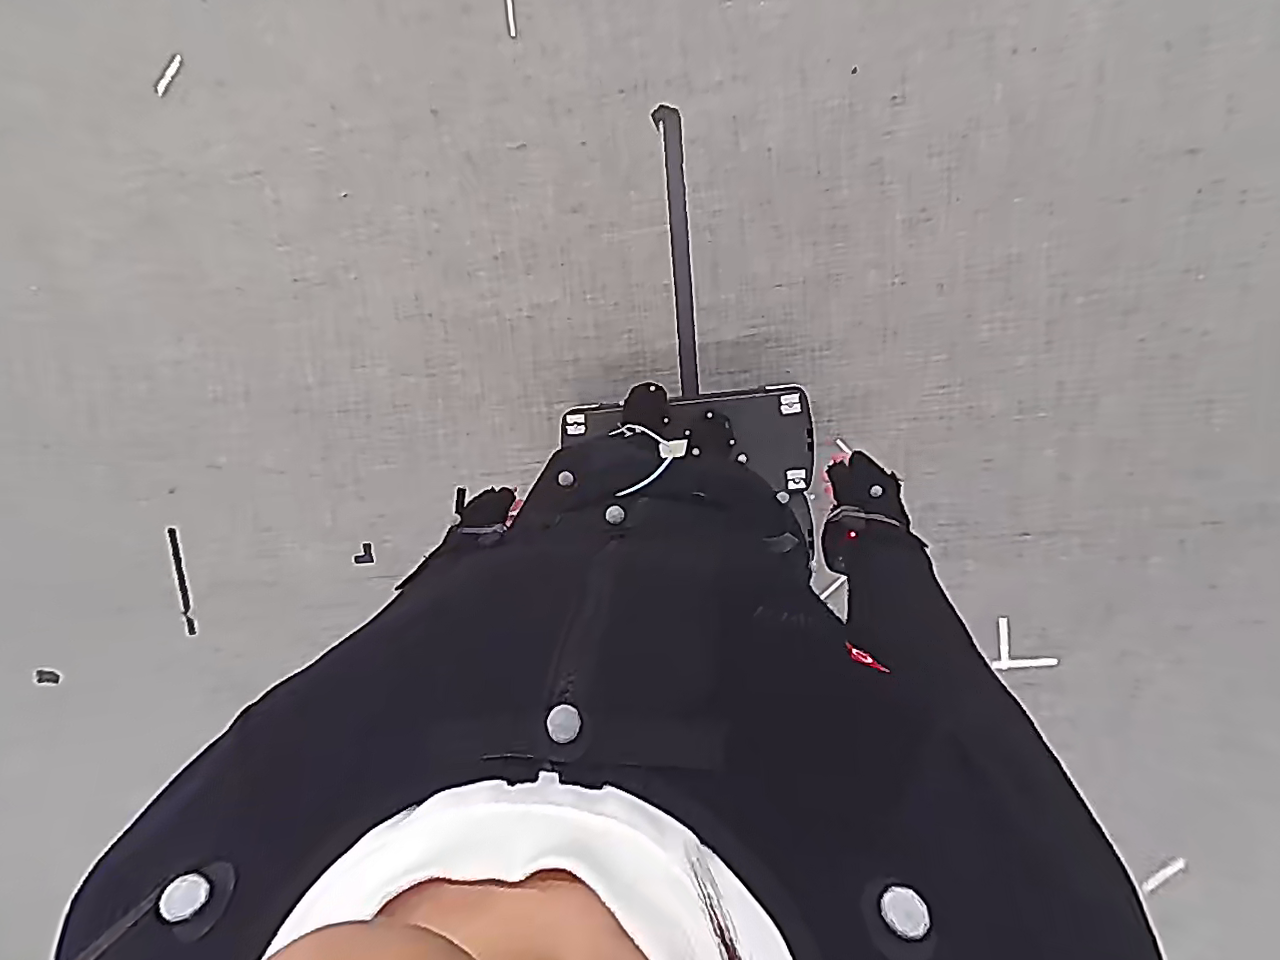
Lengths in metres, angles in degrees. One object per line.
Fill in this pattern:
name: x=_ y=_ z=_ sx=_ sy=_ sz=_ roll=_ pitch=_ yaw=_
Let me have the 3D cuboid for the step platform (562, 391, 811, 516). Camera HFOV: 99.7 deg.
step platform: x=0.124 y=-0.073 z=1.521 sx=0.684 sy=0.204 sz=0.286 roll=-6 pitch=99 yaw=8
